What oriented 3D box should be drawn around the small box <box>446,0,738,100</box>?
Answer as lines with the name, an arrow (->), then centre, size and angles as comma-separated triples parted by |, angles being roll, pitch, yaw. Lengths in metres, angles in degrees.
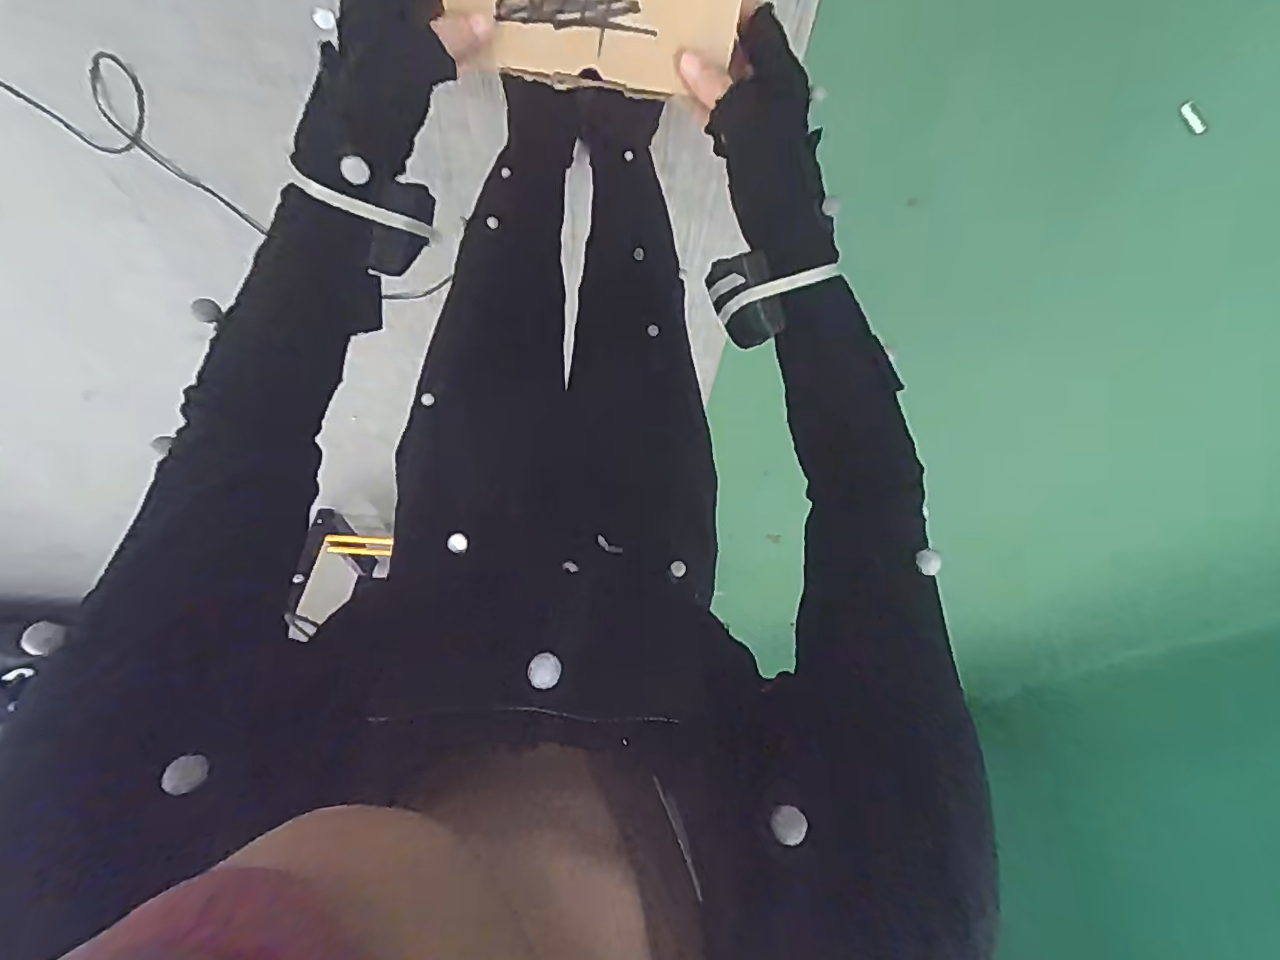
small box -> -0.021, -0.360, 0.331 | 0.168, 0.176, 0.179 | 4, 129, -8
